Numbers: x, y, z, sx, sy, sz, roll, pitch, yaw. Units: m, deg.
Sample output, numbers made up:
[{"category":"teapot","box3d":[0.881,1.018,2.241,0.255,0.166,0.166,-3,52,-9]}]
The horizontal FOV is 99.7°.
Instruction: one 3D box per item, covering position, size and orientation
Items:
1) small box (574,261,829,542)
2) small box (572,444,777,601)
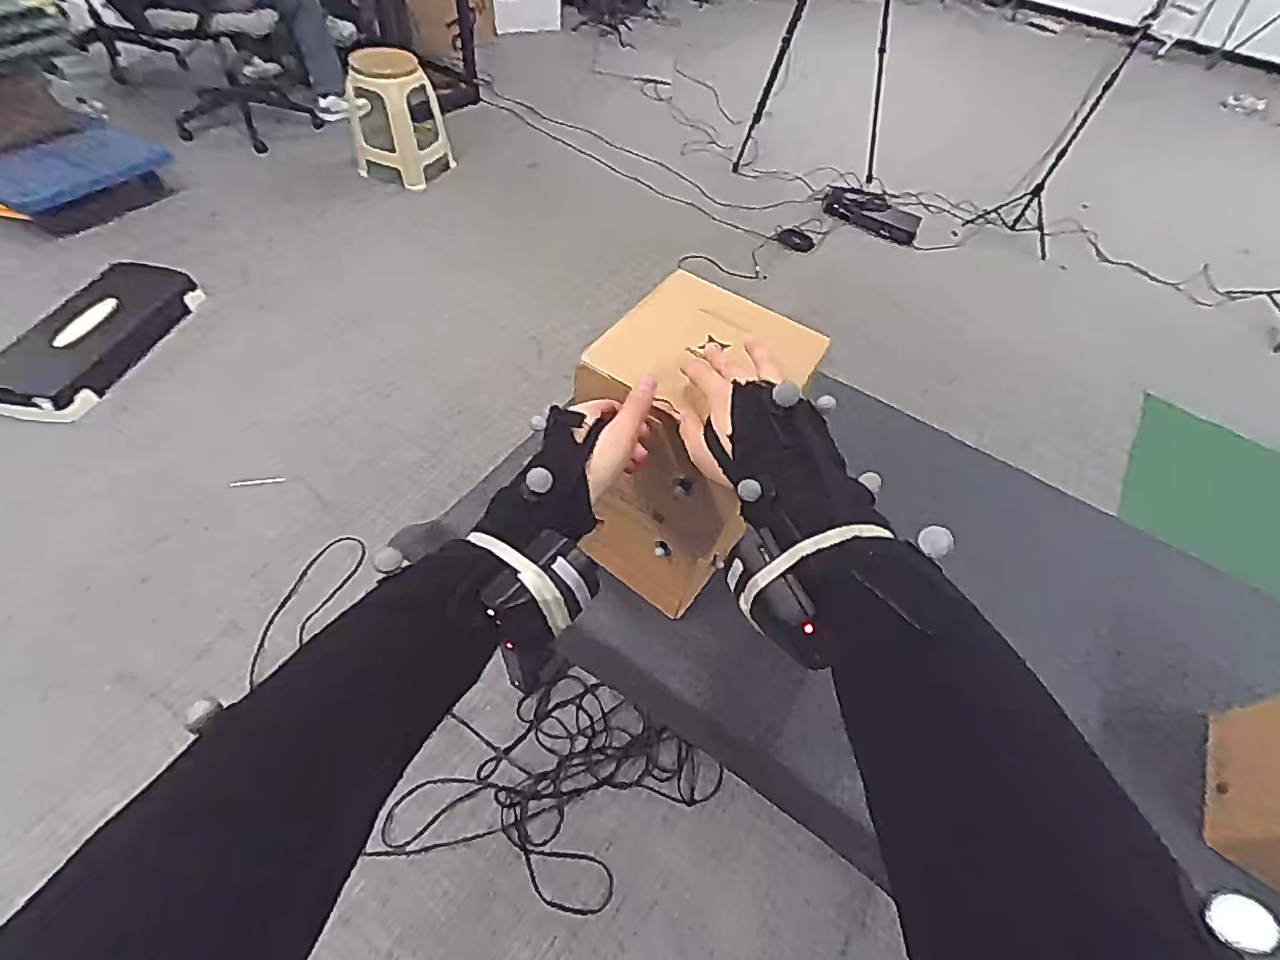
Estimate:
[{"category":"small box","box3d":[0.051,-0.072,0.525,0.168,0.176,0.179,30,54,12]},{"category":"small box","box3d":[0.031,0.017,0.660,0.179,0.176,0.168,34,57,16]}]
